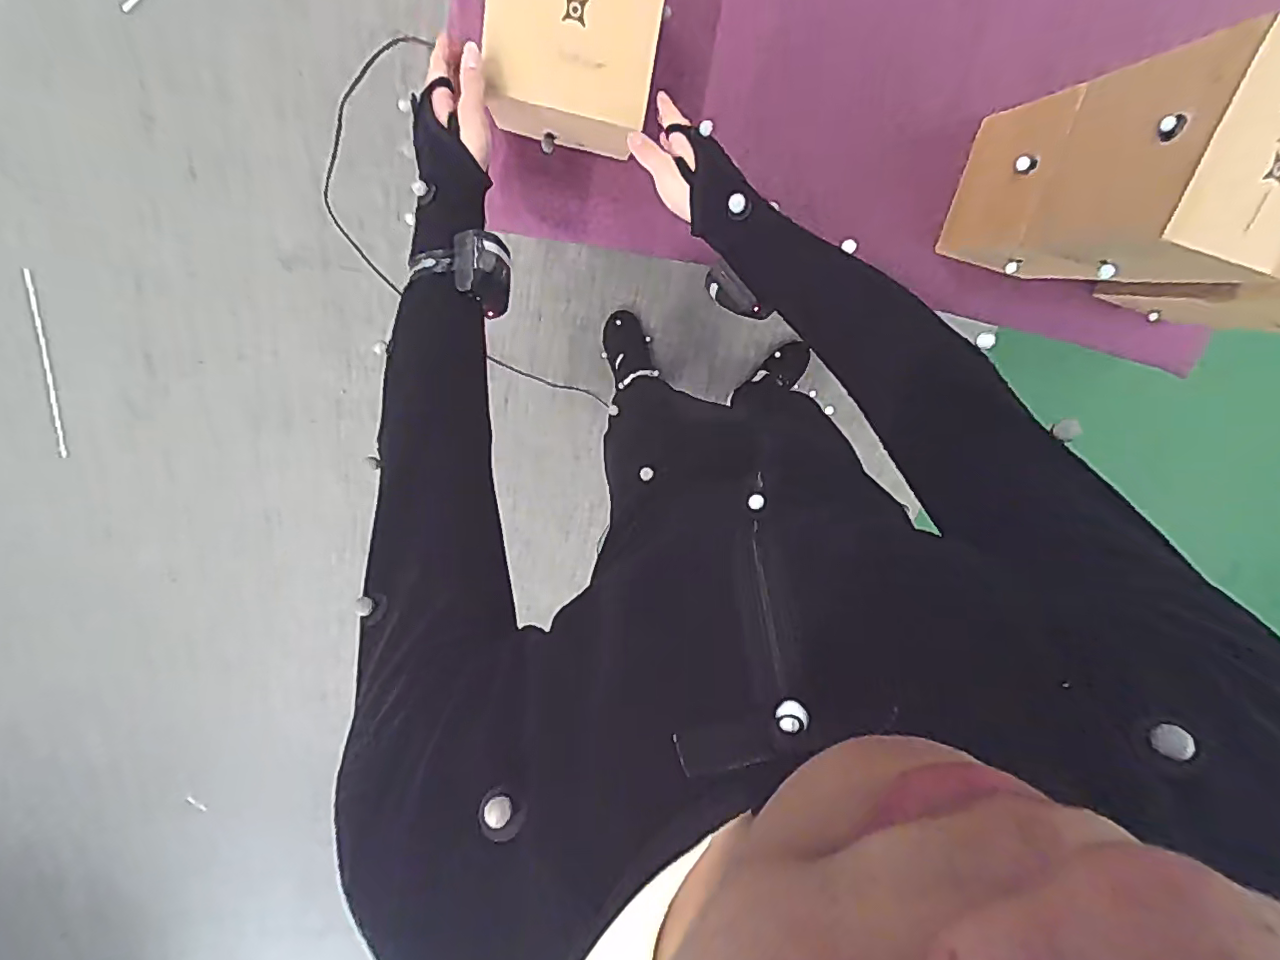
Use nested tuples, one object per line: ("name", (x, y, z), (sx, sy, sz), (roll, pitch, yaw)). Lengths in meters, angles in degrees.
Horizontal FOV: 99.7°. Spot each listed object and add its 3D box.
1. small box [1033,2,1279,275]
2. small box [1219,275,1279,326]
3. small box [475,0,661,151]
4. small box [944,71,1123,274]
("small box", (0.554, -0.317, 0.546), (0.168, 0.176, 0.179), (10, 110, -11))
("small box", (0.827, -0.264, 0.598), (0.168, 0.176, 0.179), (13, 109, -11))
("small box", (-0.072, -0.482, 0.577), (0.168, 0.176, 0.179), (8, 111, -10))
("small box", (0.534, -0.376, 0.698), (0.168, 0.176, 0.179), (10, 109, -11))
